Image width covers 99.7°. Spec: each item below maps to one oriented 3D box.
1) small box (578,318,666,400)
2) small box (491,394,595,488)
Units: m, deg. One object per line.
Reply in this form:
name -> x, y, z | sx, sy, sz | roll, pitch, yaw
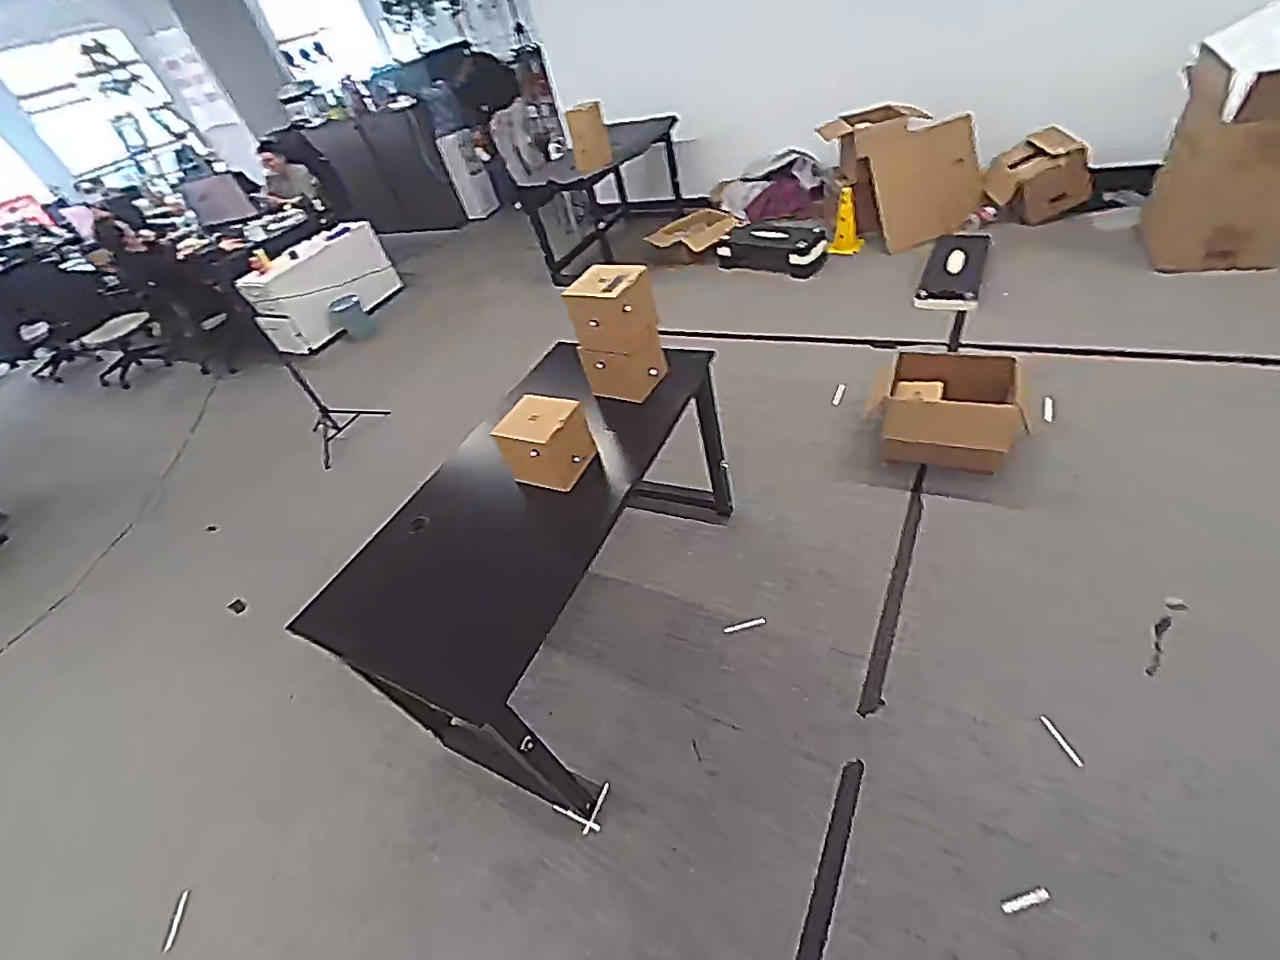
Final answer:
small box -> -0.048, -0.352, 1.581 | 0.179, 0.176, 0.168 | 15, 53, 31
small box -> -0.242, -0.099, 1.389 | 0.179, 0.176, 0.168 | 11, 50, 27
